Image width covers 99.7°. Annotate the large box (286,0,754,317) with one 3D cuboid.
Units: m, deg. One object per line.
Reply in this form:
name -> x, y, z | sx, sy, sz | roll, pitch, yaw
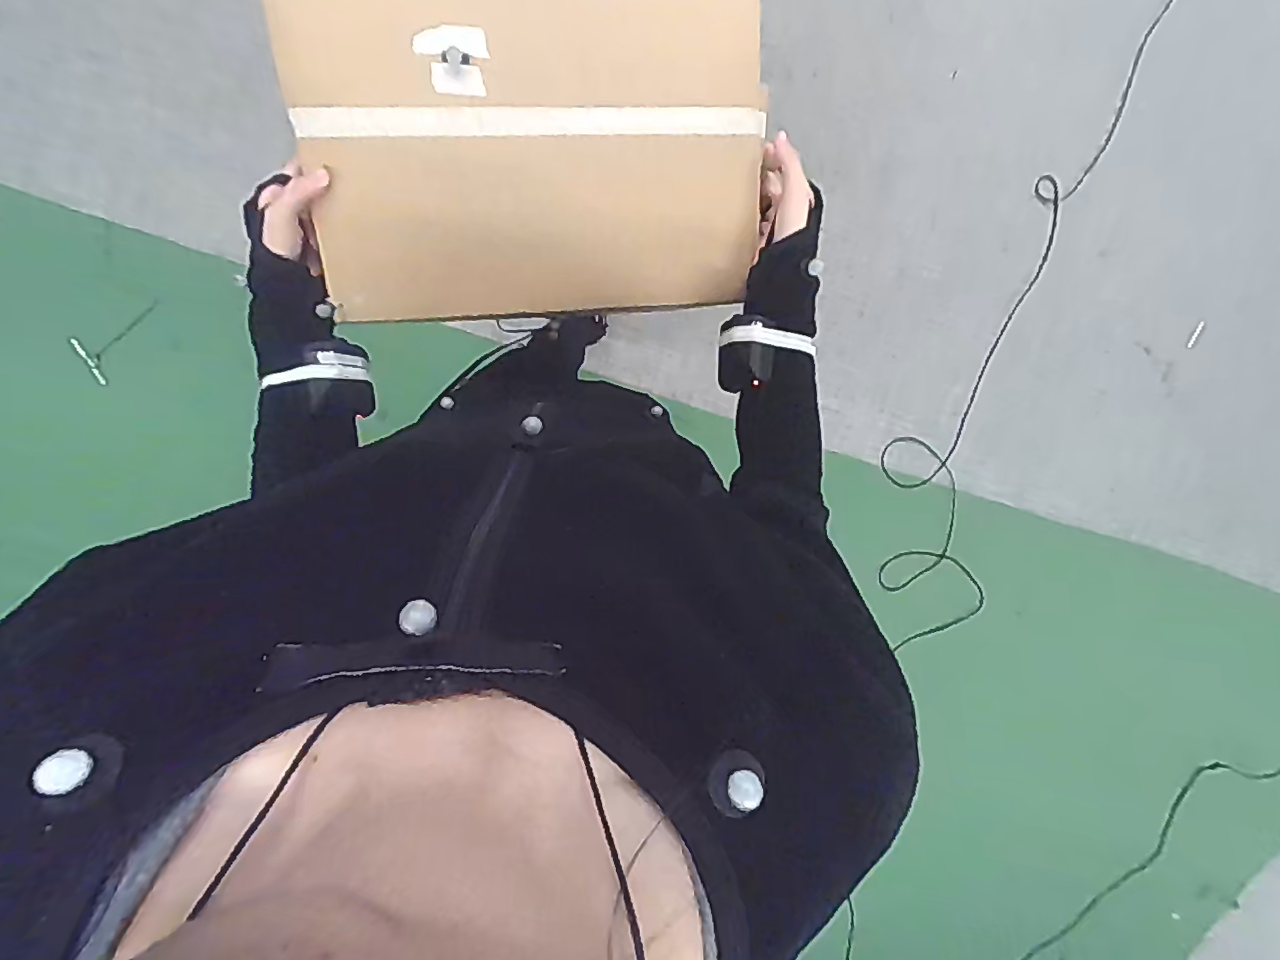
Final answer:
large box -> -0.110, -0.365, 0.631 | 0.408, 0.320, 0.320 | -6, 107, -9
